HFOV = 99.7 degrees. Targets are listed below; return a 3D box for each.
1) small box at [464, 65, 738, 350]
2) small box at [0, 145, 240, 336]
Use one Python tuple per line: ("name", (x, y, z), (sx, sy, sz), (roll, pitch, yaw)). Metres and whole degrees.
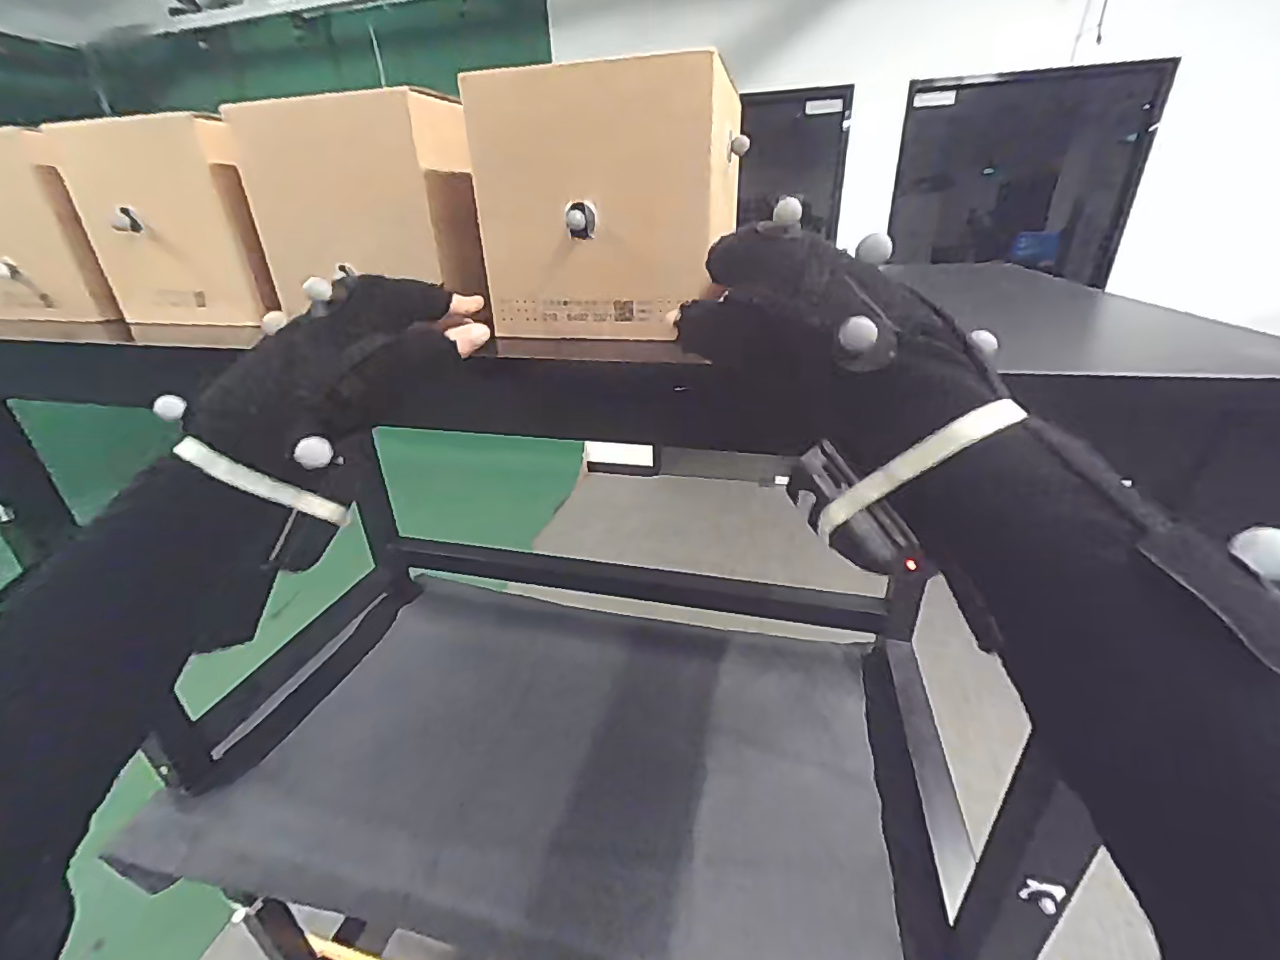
("small box", (-0.013, -0.206, 0.439), (0.168, 0.176, 0.179), (5, 27, 13))
("small box", (-0.594, -0.265, 0.603), (0.168, 0.176, 0.179), (4, 28, 13))
